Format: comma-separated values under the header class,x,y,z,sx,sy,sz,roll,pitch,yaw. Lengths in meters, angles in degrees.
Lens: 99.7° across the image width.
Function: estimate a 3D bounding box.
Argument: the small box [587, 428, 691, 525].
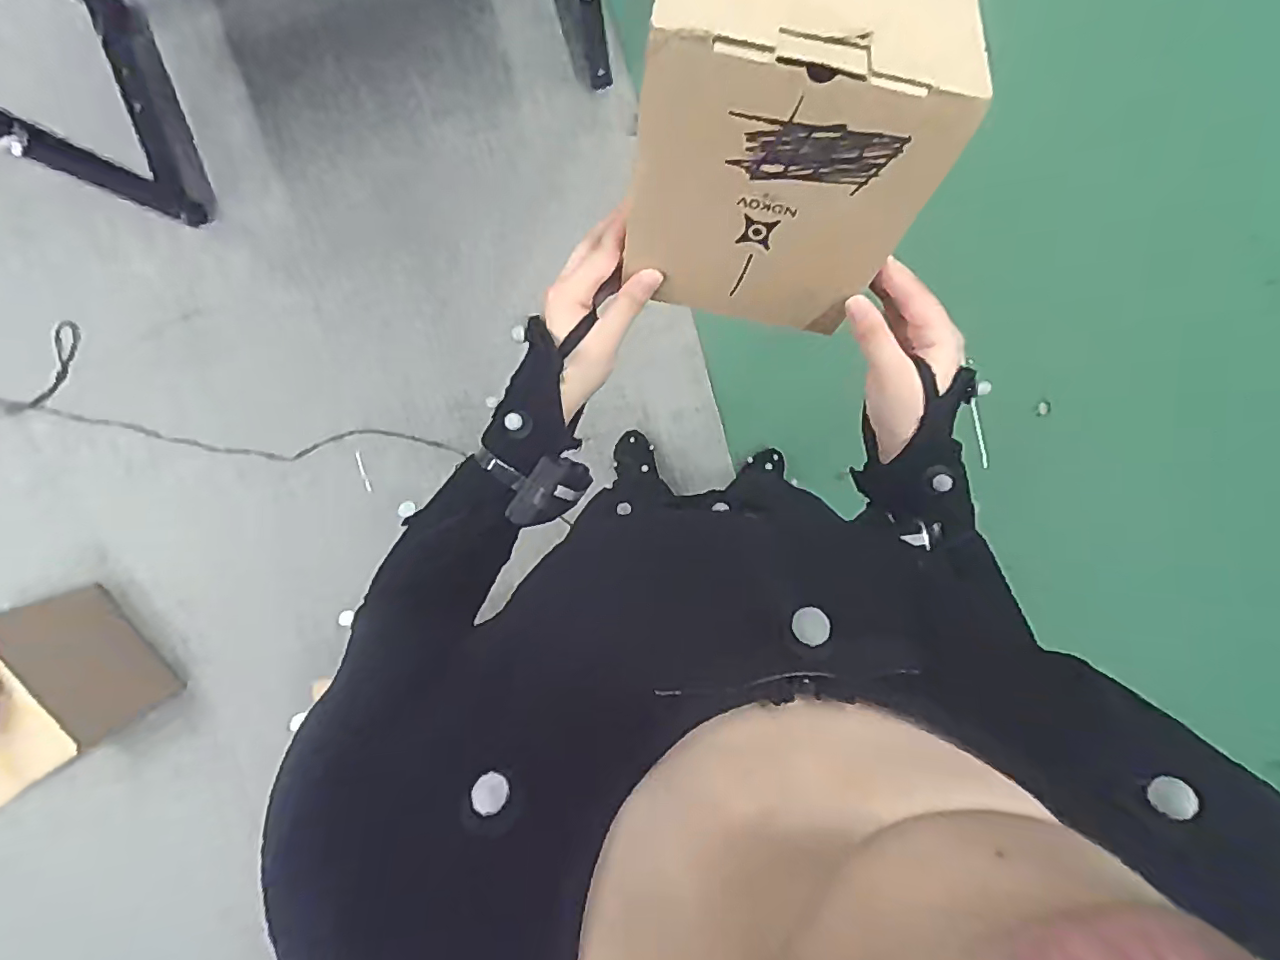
class,x,y,z,sx,sy,sz,roll,pitch,yaw
small box,0.005,-0.011,1.381,0.176,0.168,0.179,44,71,-31
